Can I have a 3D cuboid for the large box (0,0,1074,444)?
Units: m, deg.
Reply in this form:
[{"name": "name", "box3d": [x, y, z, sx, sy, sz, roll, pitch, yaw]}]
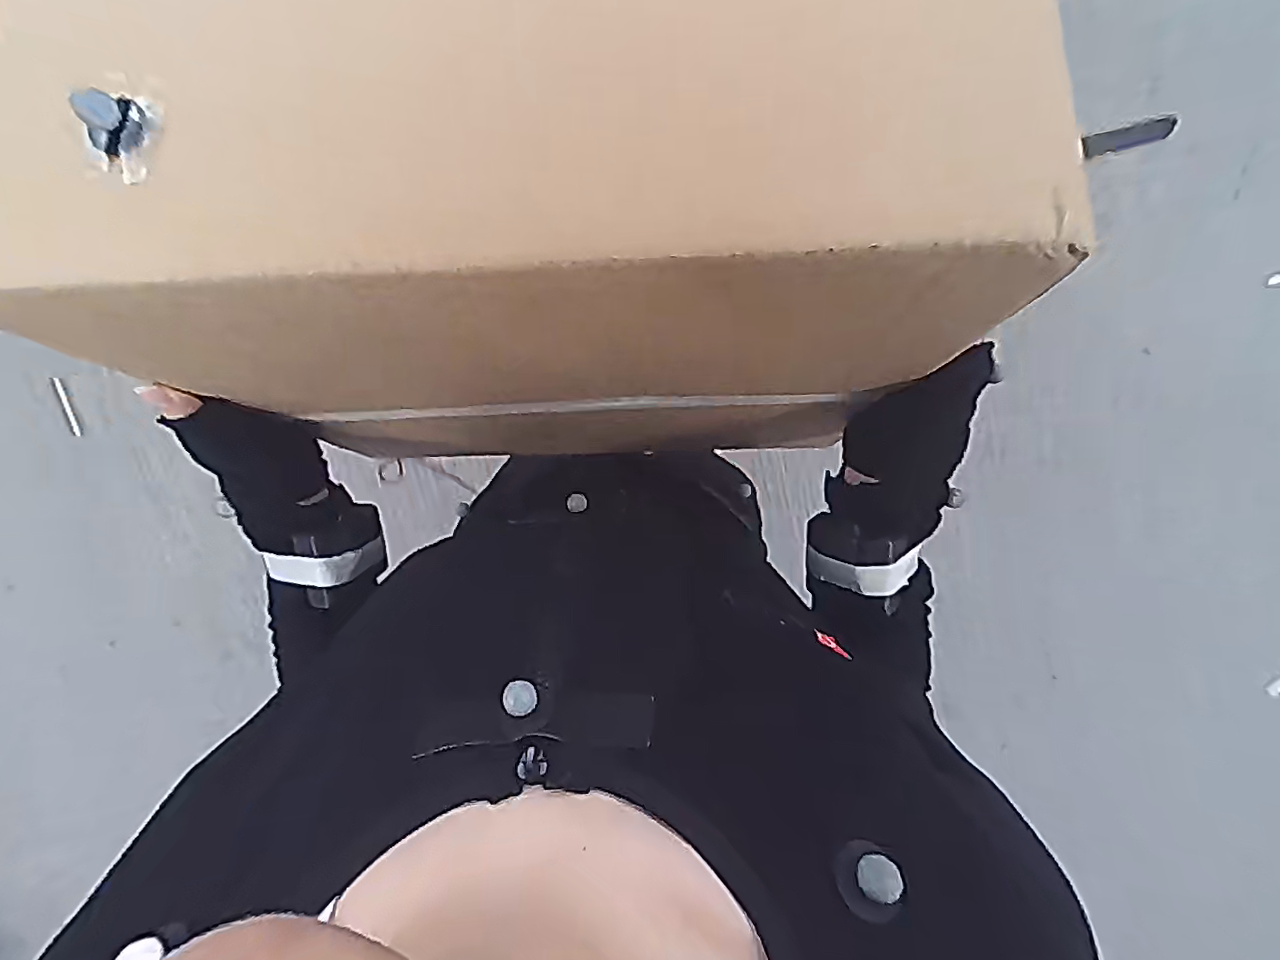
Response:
[{"name": "large box", "box3d": [-0.049, -0.212, 0.360, 0.408, 0.320, 0.320, -1, 82, 3]}]
